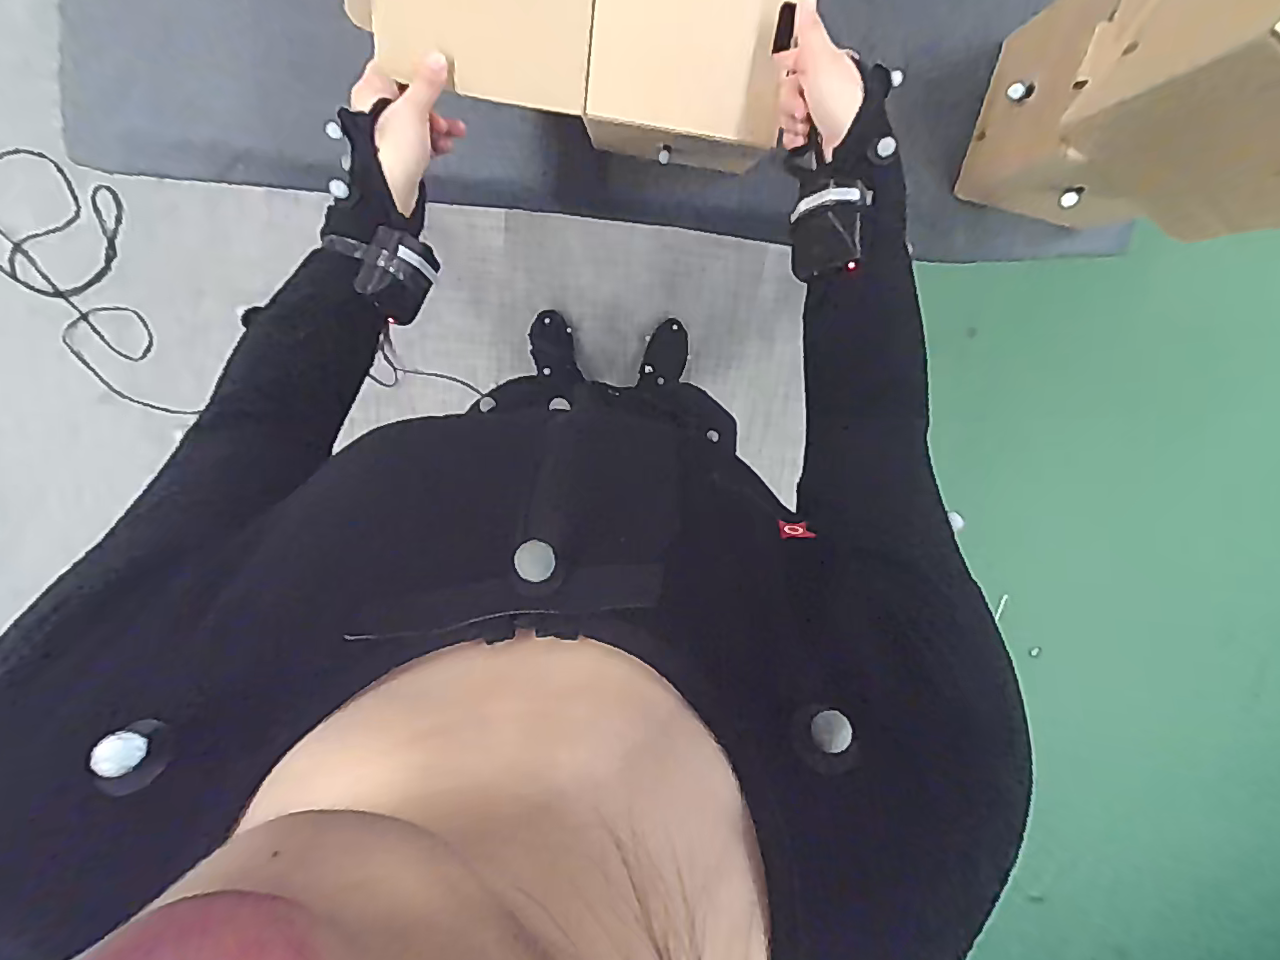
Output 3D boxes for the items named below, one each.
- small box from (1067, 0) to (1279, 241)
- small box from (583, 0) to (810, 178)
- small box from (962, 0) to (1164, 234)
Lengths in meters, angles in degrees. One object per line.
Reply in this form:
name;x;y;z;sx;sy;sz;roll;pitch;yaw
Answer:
small box;0.482;-0.302;0.398;0.179;0.176;0.168;31;102;-12
small box;0.048;-0.402;0.522;0.179;0.176;0.168;8;113;-2
small box;0.475;-0.364;0.550;0.179;0.176;0.168;11;105;-5
